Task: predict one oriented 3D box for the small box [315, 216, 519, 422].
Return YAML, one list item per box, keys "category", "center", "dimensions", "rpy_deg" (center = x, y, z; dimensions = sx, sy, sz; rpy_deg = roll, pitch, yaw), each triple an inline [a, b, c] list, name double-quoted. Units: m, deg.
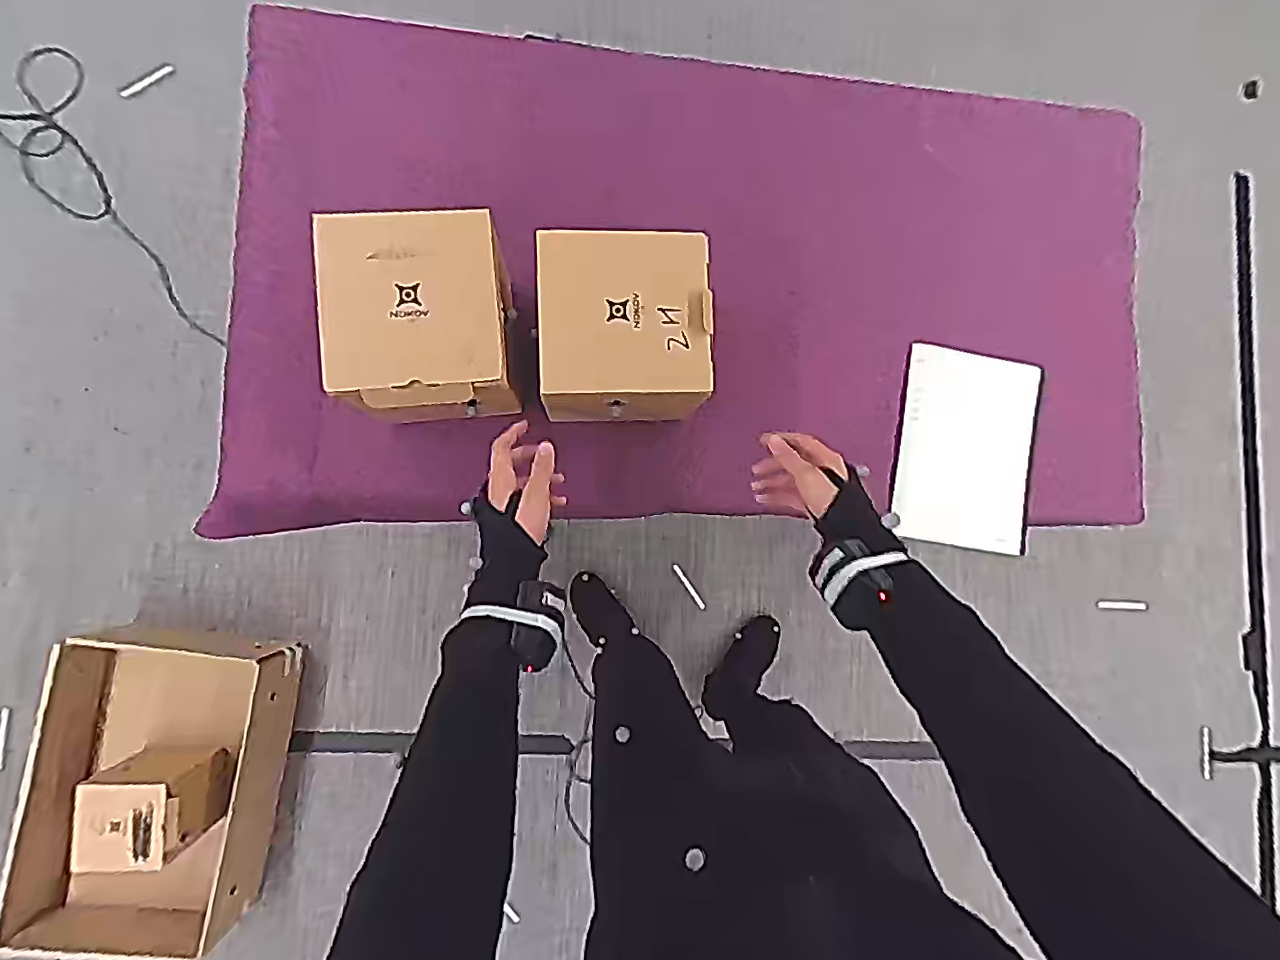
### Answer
- category: "small box"
  center: [-0.230, -0.162, 0.598]
  dimensions: [0.168, 0.176, 0.179]
  rpy_deg: [-5, 87, -7]
